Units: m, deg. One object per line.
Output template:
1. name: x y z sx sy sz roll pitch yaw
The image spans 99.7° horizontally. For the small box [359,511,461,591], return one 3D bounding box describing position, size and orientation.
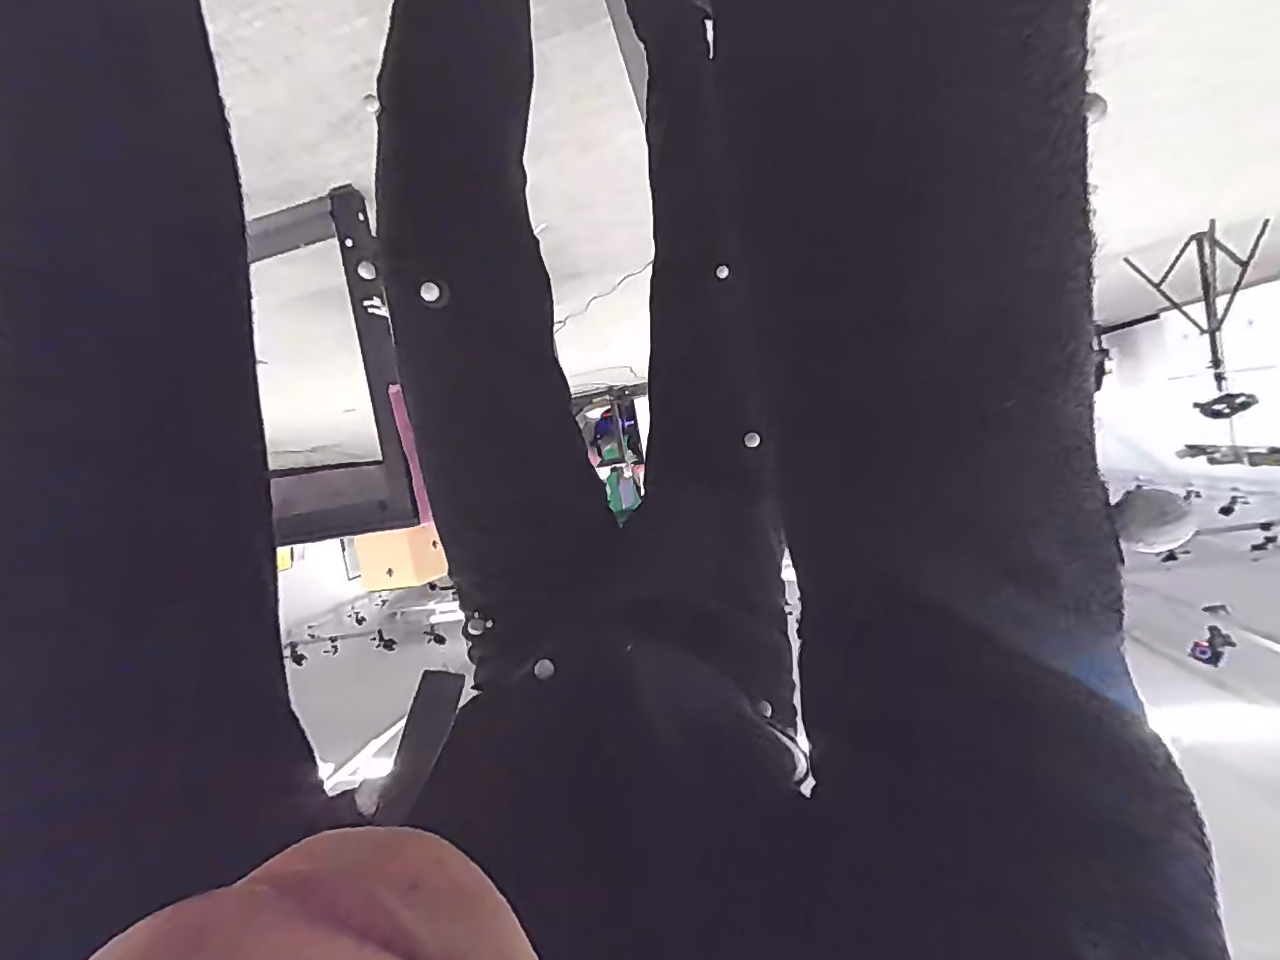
1. small box: -0.615 0.183 1.444 0.179 0.176 0.168 -9 -177 19
